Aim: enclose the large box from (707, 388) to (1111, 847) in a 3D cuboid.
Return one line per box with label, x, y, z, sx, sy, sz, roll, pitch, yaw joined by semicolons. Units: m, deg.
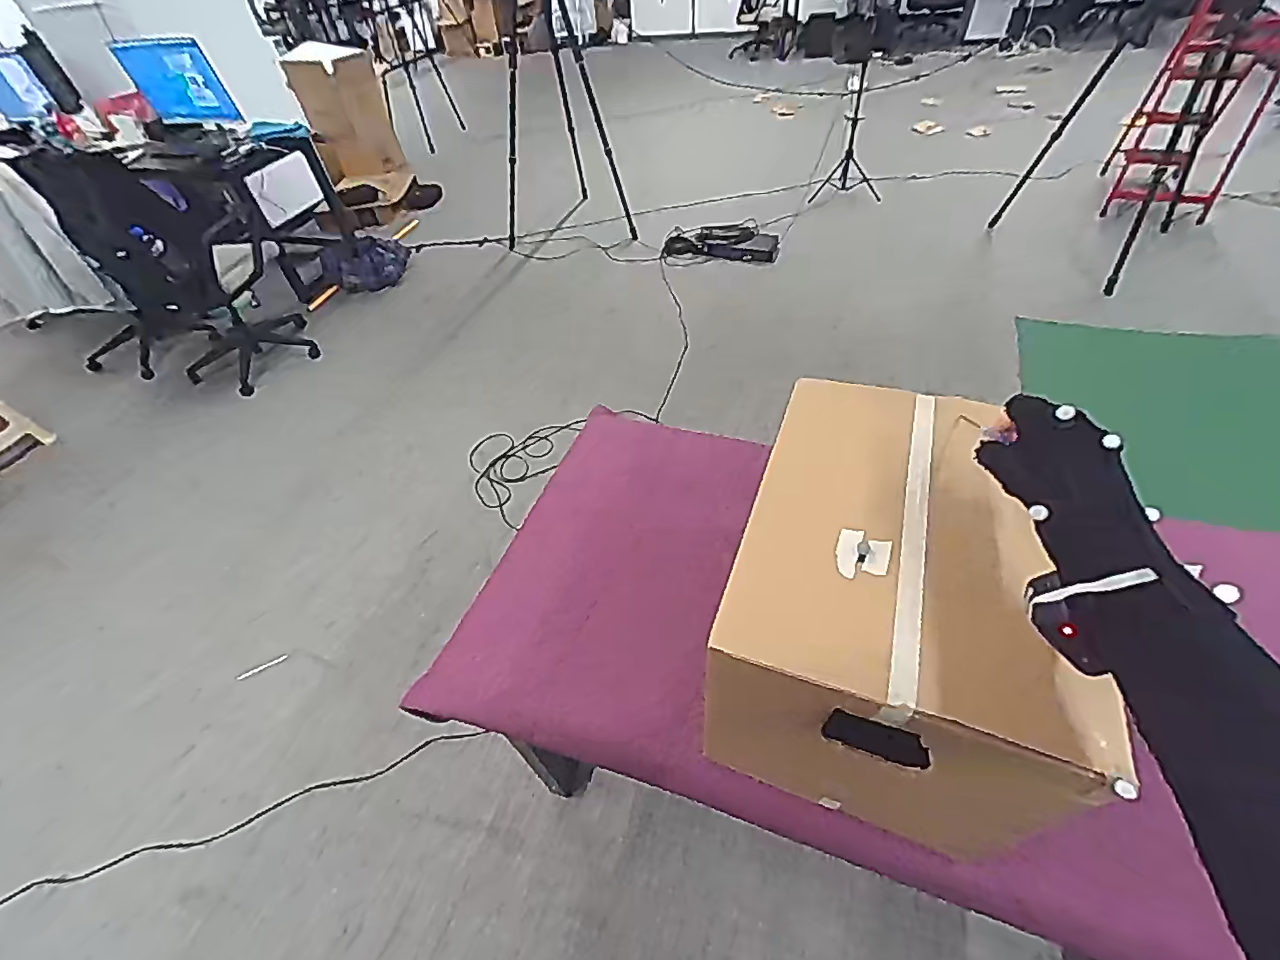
large box;0.287;0.149;0.670;0.320;0.320;0.408;14;51;18
